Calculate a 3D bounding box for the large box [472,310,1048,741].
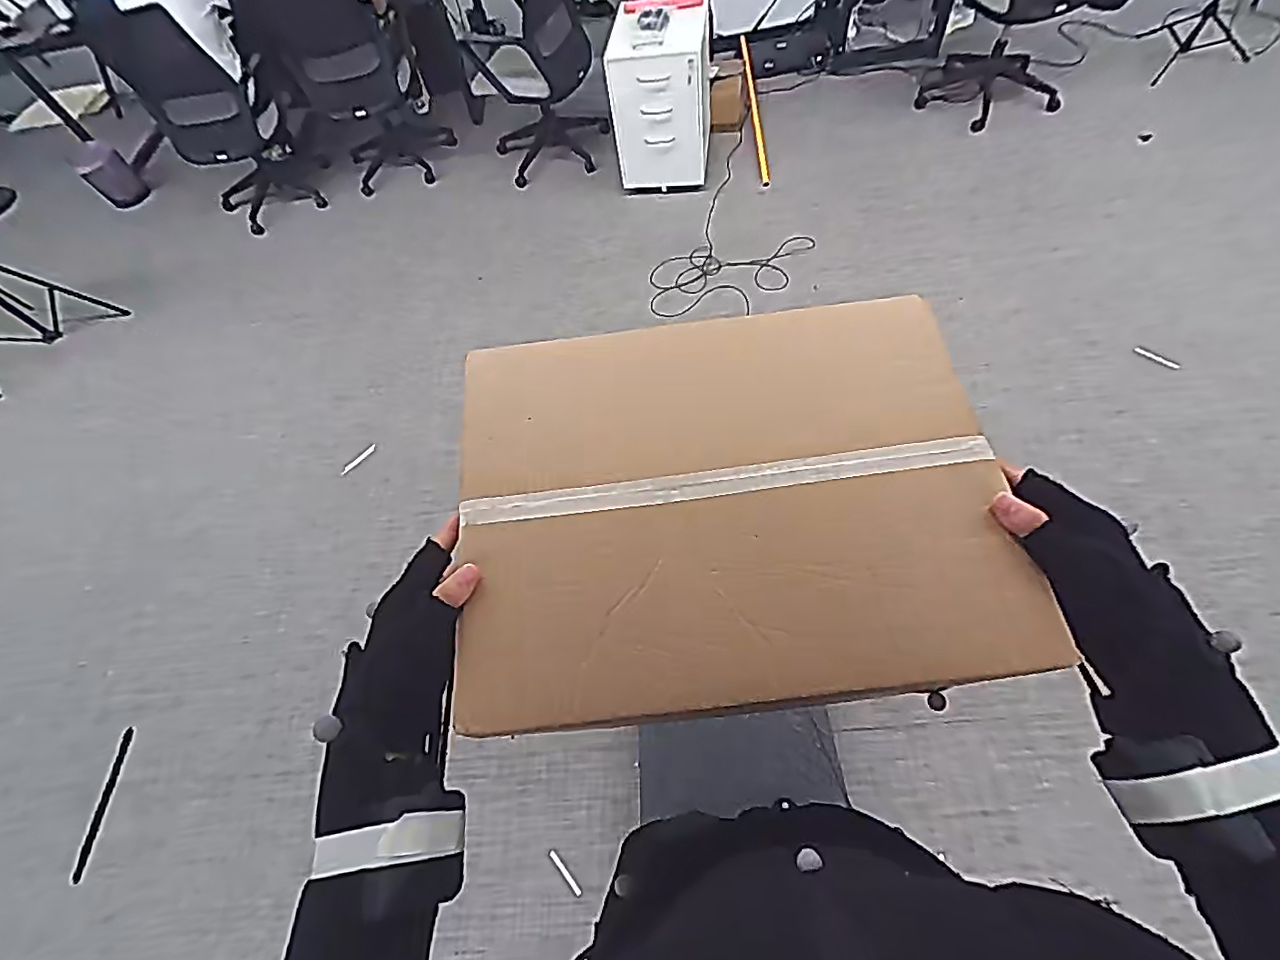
[{"bbox_3d":[0.076,0.071,0.561,0.408,0.320,0.320,-8,65,1],"label":"large box"}]
